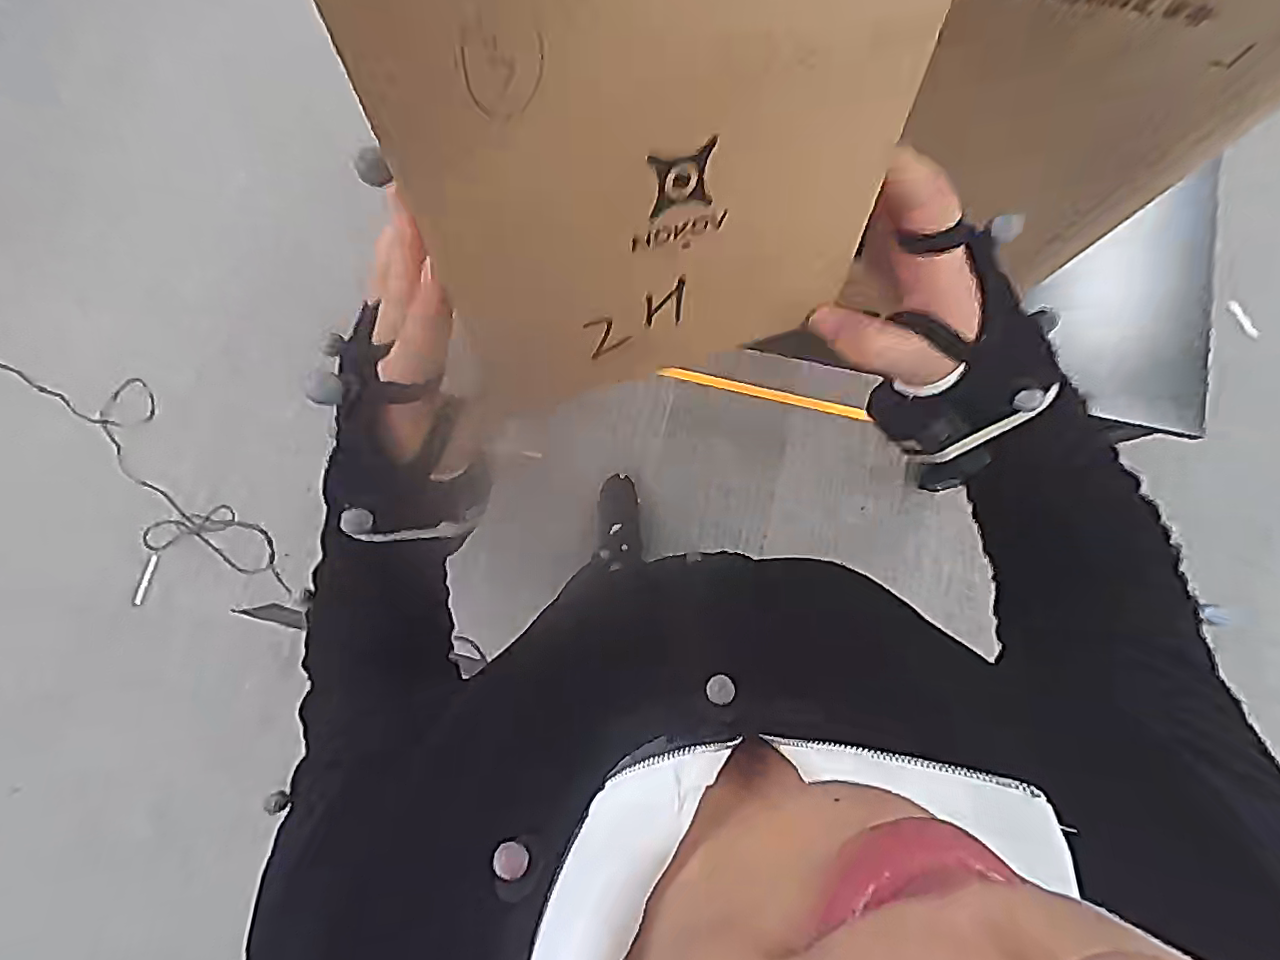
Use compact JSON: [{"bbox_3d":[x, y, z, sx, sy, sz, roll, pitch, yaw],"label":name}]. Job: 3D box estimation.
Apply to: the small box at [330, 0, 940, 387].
[{"bbox_3d":[-0.016,-0.171,0.204,0.168,0.179,0.176,-19,65,-6],"label":"small box"}]
